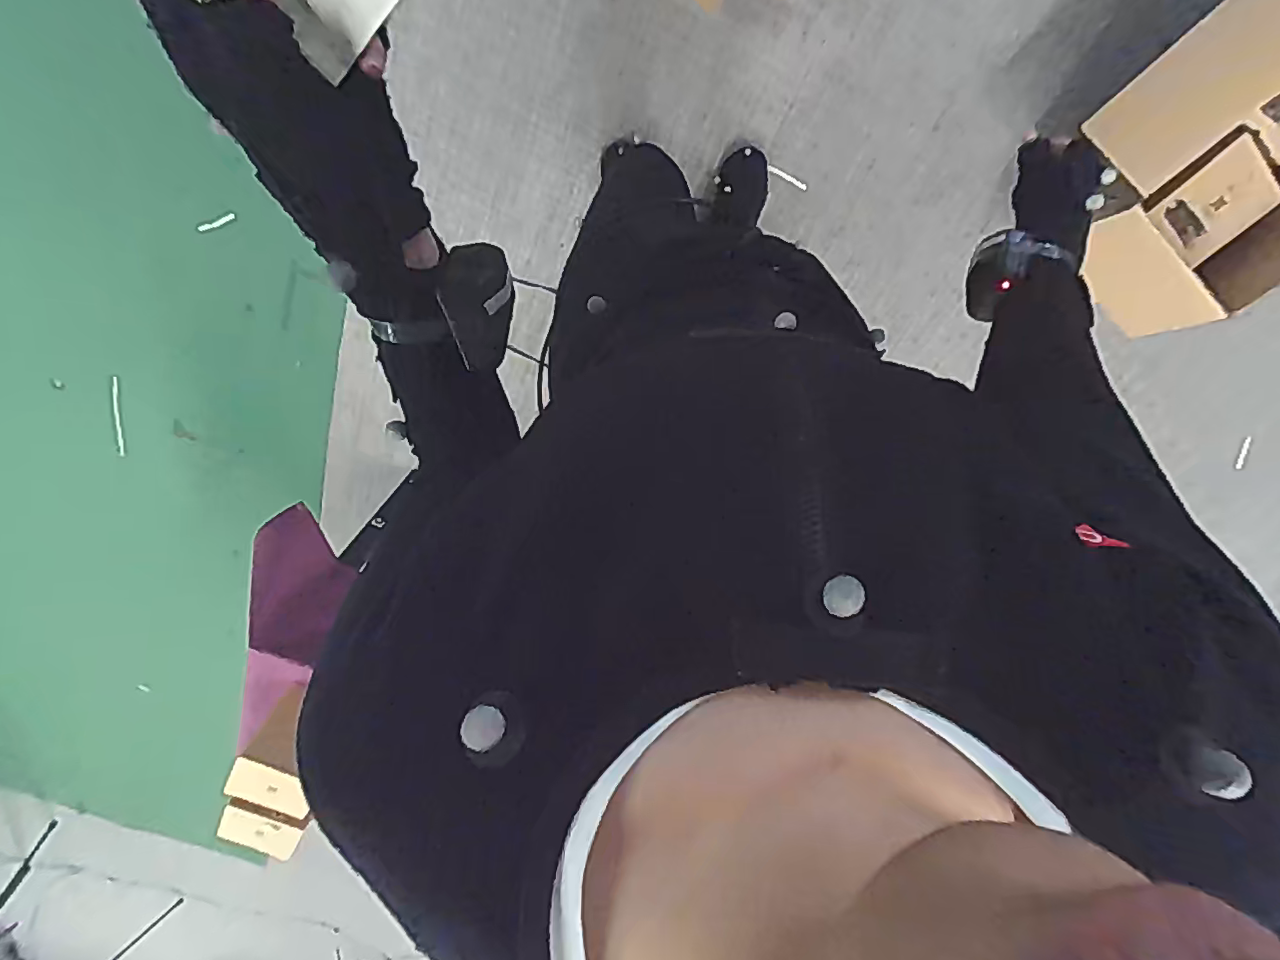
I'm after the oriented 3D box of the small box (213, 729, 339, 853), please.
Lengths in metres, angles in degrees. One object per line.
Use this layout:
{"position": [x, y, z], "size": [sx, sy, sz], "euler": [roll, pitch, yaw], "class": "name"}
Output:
{"position": [-0.825, 0.709, 1.237], "size": [0.168, 0.176, 0.179], "euler": [29, 122, -13], "class": "small box"}
